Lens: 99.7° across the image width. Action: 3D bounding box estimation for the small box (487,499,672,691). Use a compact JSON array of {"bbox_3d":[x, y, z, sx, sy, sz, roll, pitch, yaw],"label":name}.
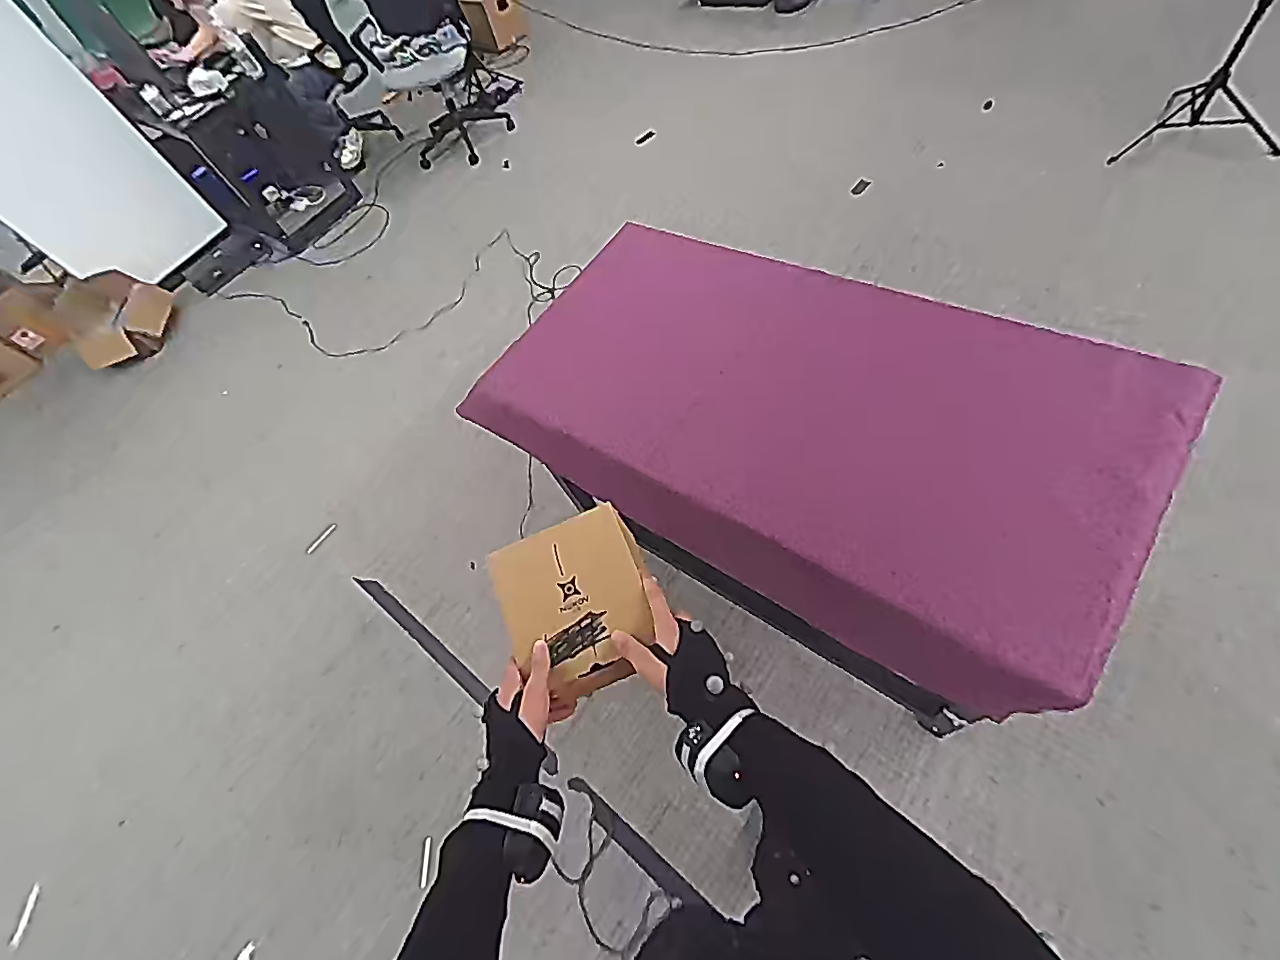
[{"bbox_3d":[-0.067,0.153,0.695,0.168,0.176,0.179,-24,68,0],"label":"small box"}]
